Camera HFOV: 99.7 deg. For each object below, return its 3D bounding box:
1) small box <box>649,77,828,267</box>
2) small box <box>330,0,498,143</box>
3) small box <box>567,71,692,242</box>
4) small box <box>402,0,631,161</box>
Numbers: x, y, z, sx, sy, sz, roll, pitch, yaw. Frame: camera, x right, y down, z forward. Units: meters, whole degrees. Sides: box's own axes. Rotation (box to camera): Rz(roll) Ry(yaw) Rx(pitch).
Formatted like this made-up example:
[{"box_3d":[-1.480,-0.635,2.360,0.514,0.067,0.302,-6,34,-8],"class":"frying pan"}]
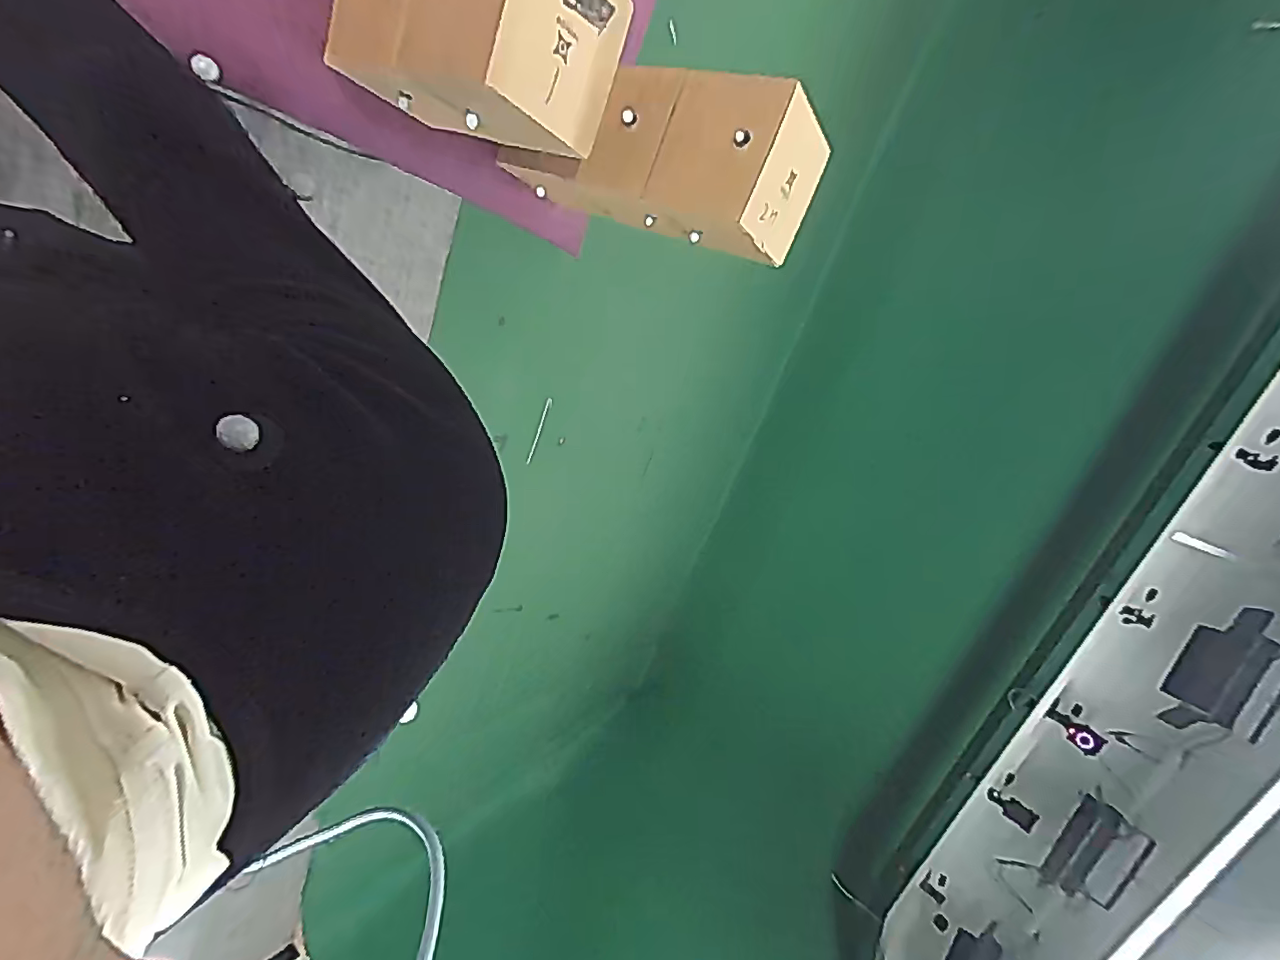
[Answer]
[{"box_3d":[0.138,-0.438,0.774,0.168,0.176,0.179,2,114,-57],"class":"small box"},{"box_3d":[-0.270,-0.573,0.697,0.168,0.176,0.179,-3,117,-56],"class":"small box"},{"box_3d":[0.012,-0.508,0.854,0.168,0.176,0.179,1,114,-57],"class":"small box"},{"box_3d":[-0.143,-0.504,0.618,0.168,0.176,0.179,-2,117,-57],"class":"small box"}]
